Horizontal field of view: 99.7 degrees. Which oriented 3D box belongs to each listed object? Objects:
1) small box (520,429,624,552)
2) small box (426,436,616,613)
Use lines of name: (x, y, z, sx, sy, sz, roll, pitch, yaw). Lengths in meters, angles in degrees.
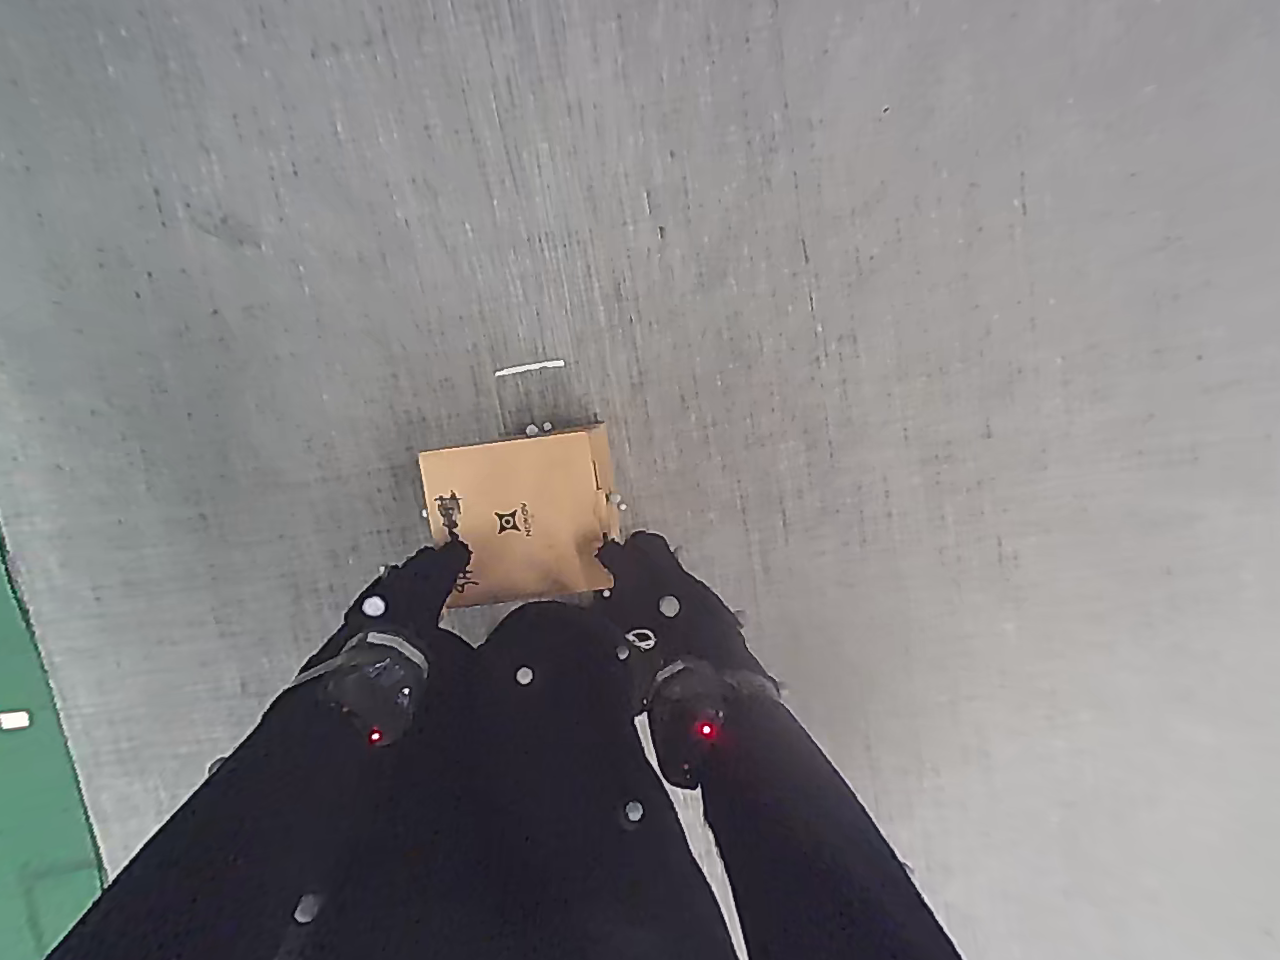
small box: (-0.124, 0.021, 0.795, 0.179, 0.176, 0.168, -11, 97, -1)
small box: (-0.124, 0.040, 0.632, 0.179, 0.176, 0.168, -7, 96, -1)
